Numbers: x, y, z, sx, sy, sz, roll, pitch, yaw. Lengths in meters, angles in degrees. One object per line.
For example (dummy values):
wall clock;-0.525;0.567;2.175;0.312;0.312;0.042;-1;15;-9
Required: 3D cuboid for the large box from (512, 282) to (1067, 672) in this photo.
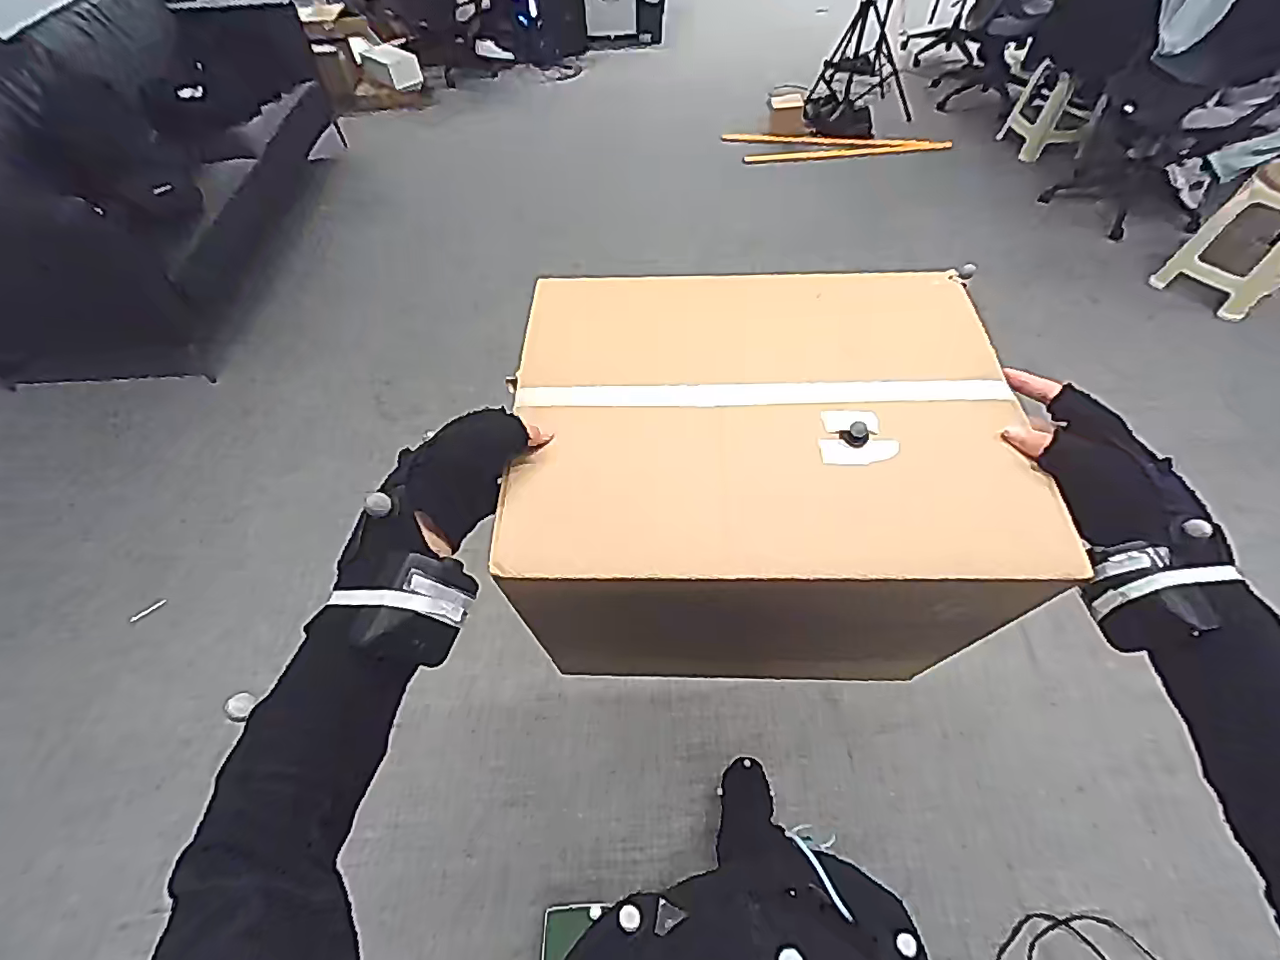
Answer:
large box;0.106;0.012;0.586;0.408;0.320;0.320;0;58;1
